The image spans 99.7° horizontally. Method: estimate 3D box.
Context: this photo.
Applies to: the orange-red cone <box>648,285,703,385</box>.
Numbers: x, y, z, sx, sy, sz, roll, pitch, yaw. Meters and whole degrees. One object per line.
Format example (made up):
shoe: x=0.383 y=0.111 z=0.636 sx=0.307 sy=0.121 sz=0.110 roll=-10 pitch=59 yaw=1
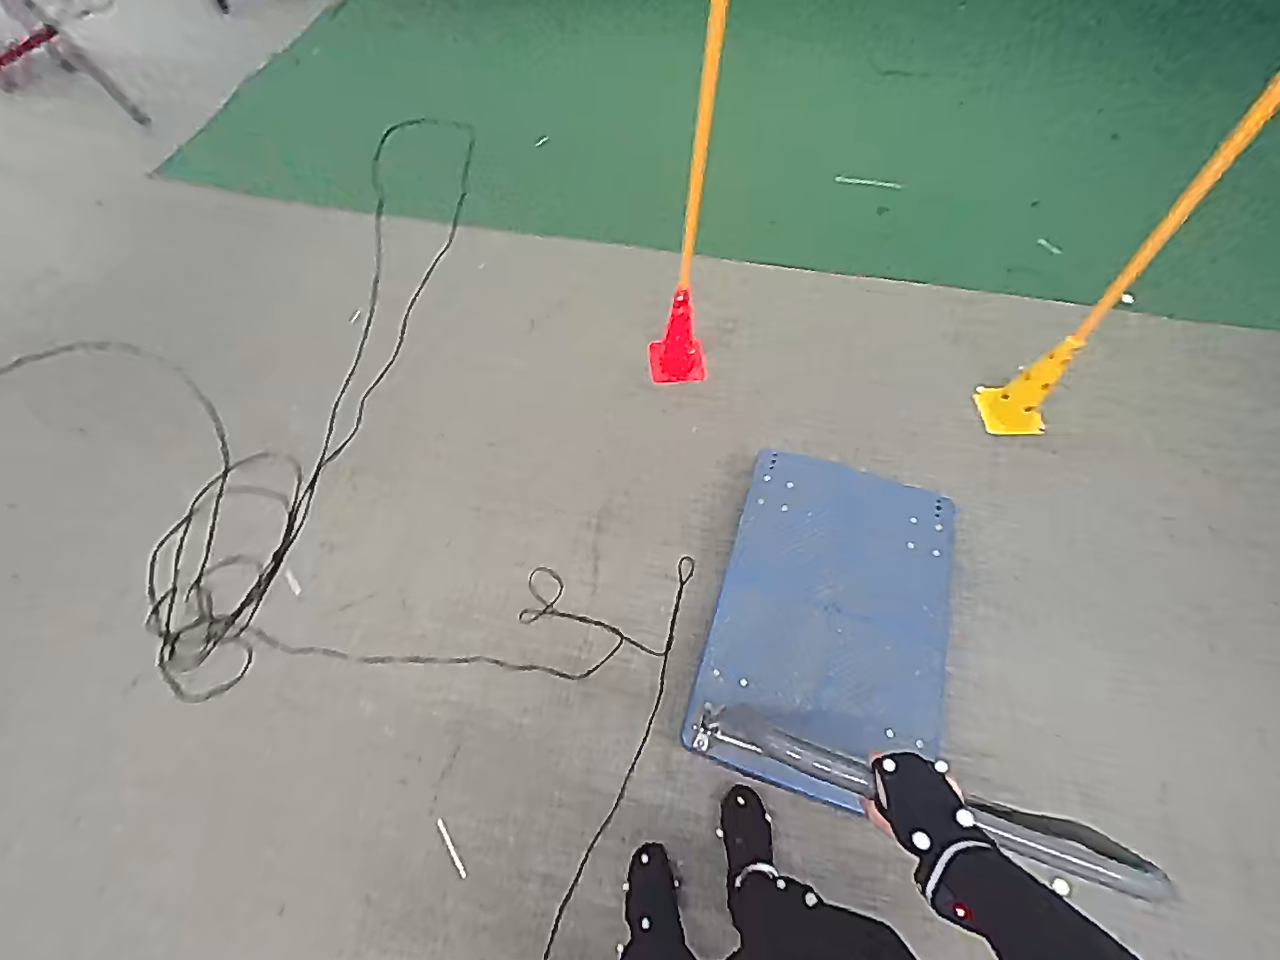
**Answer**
orange-red cone: x=0.127 y=-0.520 z=1.873 sx=0.199 sy=0.360 sz=0.198 roll=-4 pitch=60 yaw=0
